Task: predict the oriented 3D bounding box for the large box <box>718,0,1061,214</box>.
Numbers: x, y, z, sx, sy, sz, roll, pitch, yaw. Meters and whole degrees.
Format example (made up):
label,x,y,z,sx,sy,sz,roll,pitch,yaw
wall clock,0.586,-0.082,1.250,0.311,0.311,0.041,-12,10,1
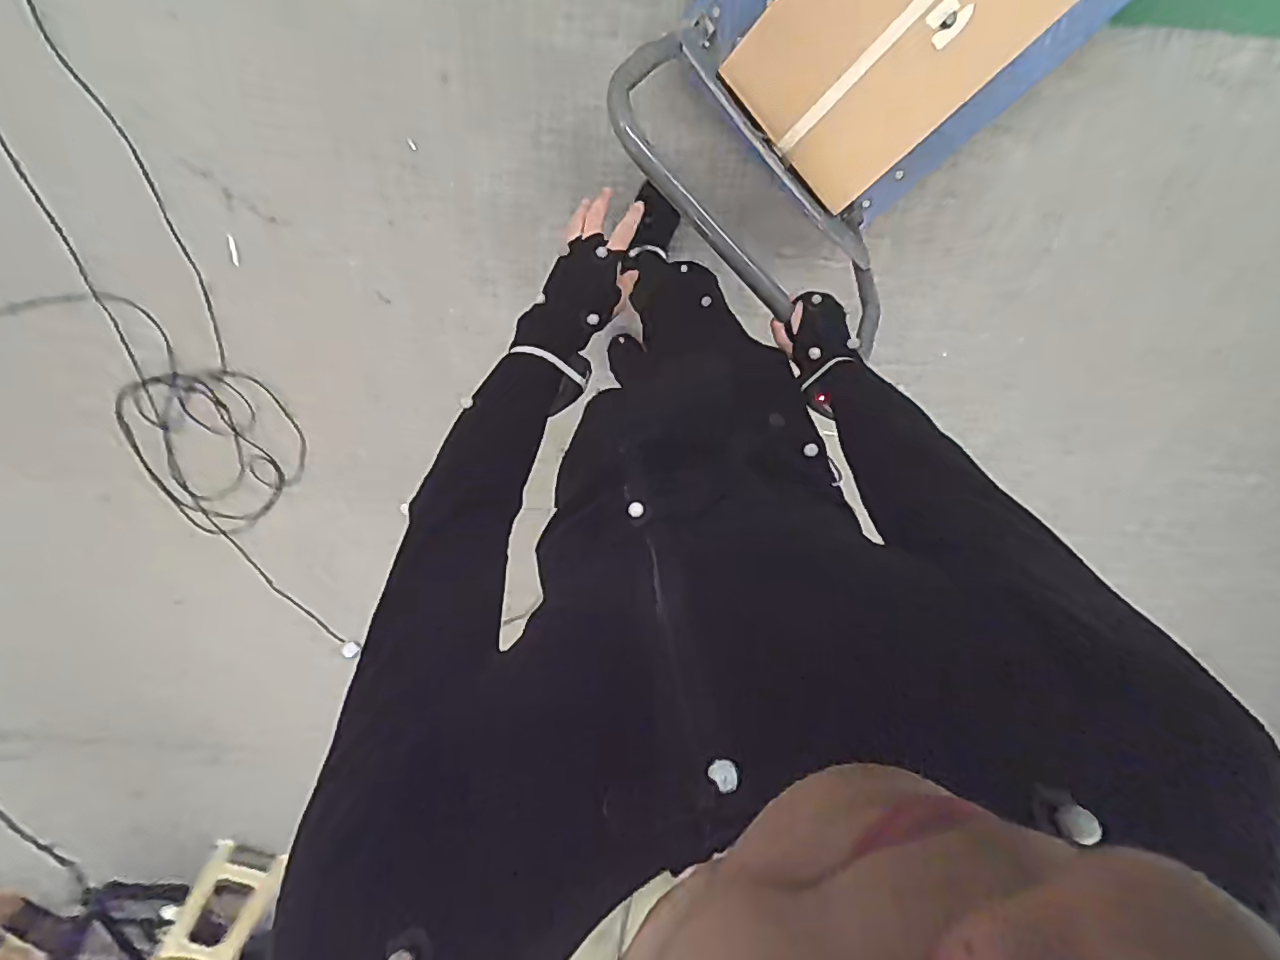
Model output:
label,x,y,z,sx,sy,sz,roll,pitch,yaw
large box,0.390,-0.763,0.946,0.320,0.320,0.408,40,125,-20
